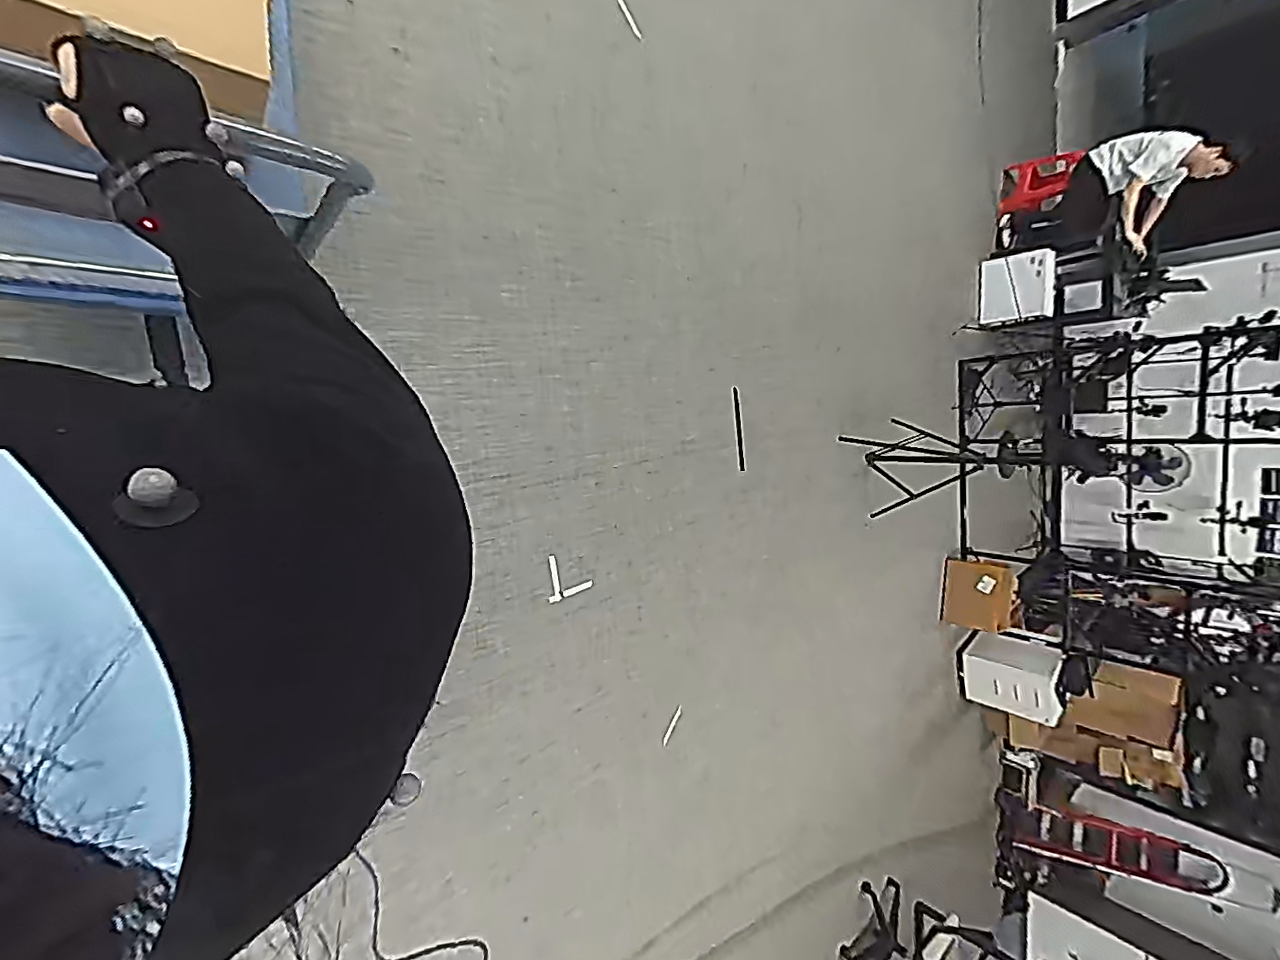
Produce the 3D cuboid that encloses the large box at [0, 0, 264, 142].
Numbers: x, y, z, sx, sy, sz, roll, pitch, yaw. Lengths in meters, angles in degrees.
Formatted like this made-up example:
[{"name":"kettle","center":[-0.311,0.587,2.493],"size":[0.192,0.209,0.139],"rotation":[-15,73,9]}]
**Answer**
[{"name":"large box","center":[-0.836,-0.786,0.819],"size":[0.408,0.320,0.320],"rotation":[-5,96,-39]}]
